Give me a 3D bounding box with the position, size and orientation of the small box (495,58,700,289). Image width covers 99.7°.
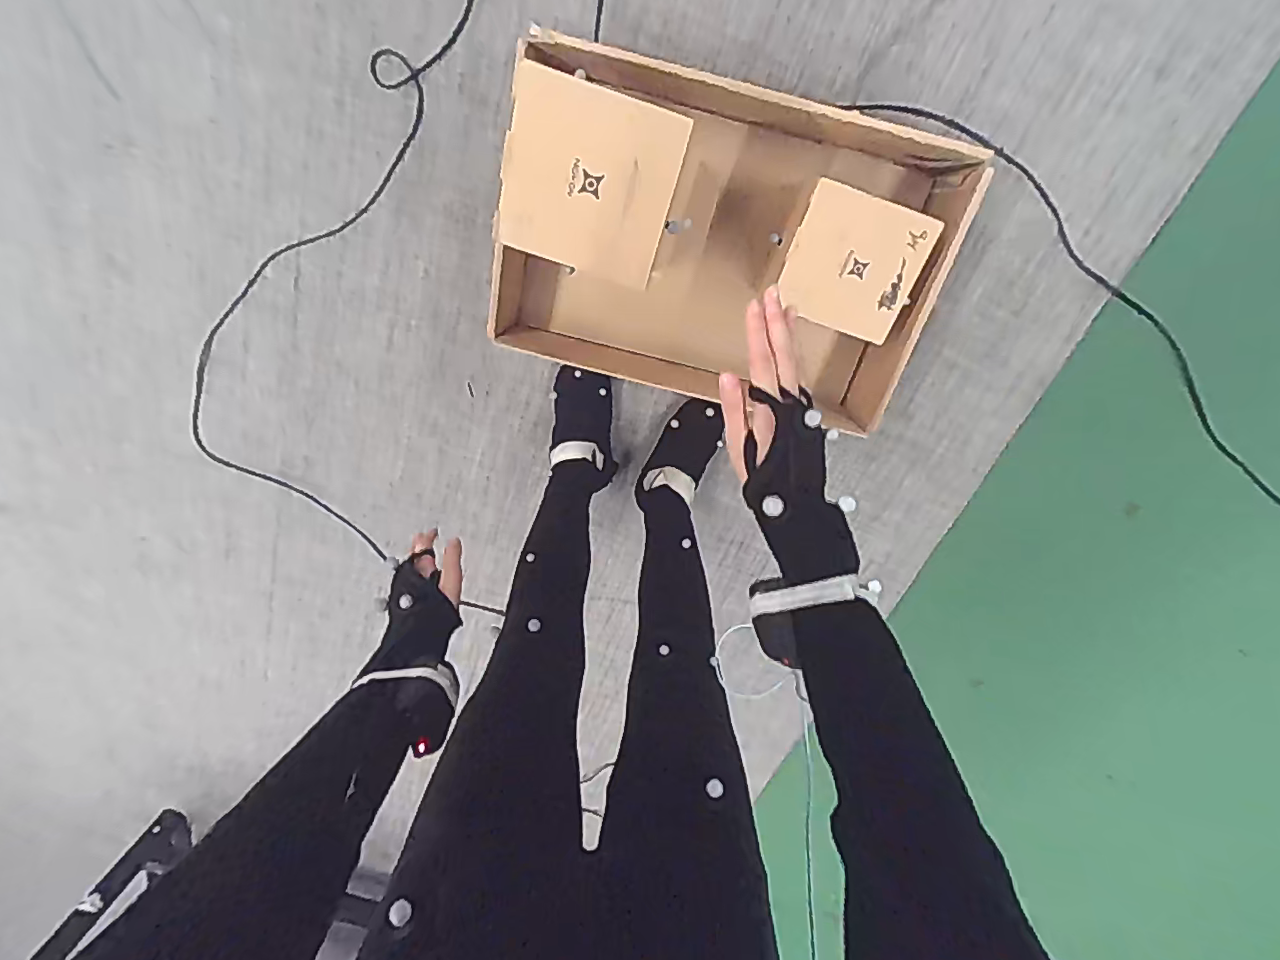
[{"bbox_3d":[-0.044,-0.336,0.619,0.179,0.176,0.168,18,116,-6],"label":"small box"}]

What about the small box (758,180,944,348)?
[{"bbox_3d":[0.287,-0.311,0.788,0.179,0.176,0.168,19,115,-4],"label":"small box"}]
